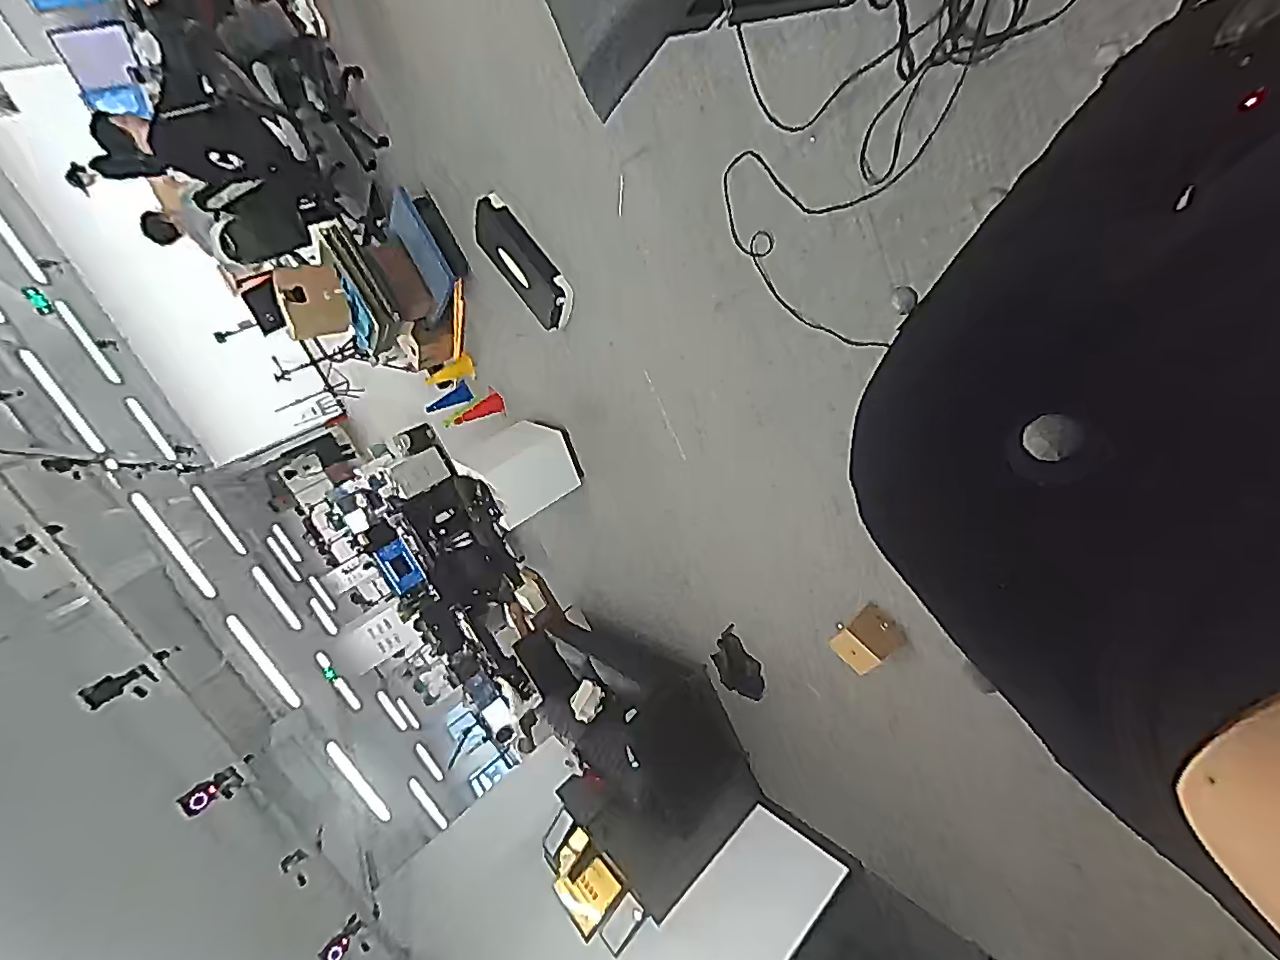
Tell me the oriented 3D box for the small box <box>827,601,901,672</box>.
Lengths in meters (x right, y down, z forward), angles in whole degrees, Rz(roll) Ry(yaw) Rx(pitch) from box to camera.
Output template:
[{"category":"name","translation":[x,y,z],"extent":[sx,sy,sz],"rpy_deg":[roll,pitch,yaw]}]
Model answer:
[{"category":"small box","translation":[0.855,0.595,2.060],"extent":[0.168,0.176,0.179],"rpy_deg":[43,150,21]}]
